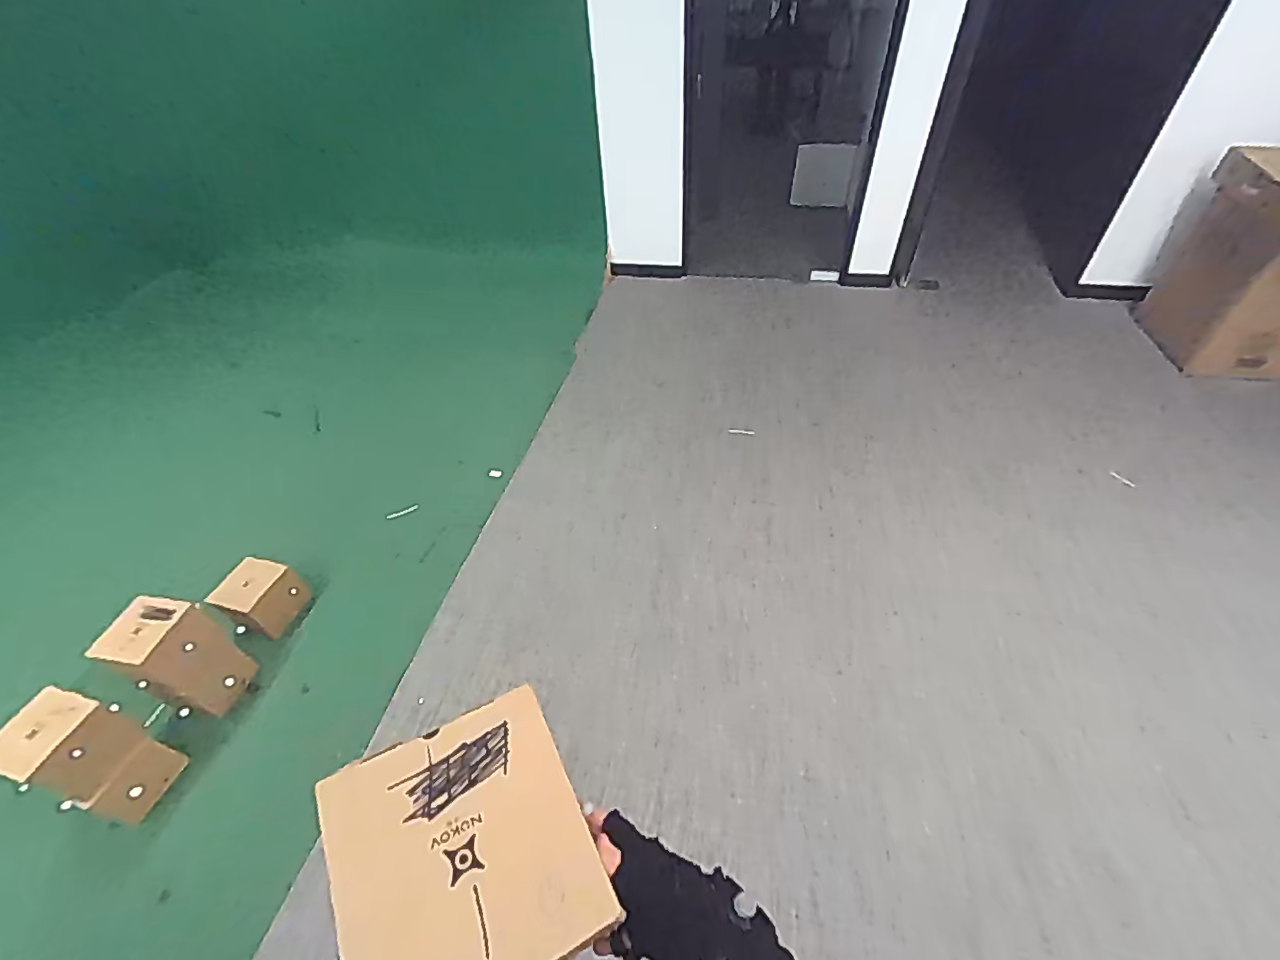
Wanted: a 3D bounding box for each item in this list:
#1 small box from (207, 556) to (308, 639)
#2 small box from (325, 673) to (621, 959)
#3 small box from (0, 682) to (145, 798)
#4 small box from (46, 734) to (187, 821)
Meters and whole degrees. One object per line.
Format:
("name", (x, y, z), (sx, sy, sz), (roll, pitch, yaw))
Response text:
("small box", (-1.197, 0.372, 1.715), (0.168, 0.176, 0.179), (10, 46, 14))
("small box", (-0.129, 0.297, 0.437), (0.168, 0.176, 0.179), (-19, 53, -21))
("small box", (-1.327, 0.605, 1.252), (0.168, 0.176, 0.179), (10, 46, 13))
("small box", (-1.312, 0.729, 1.359), (0.179, 0.176, 0.168), (11, 47, 15))
